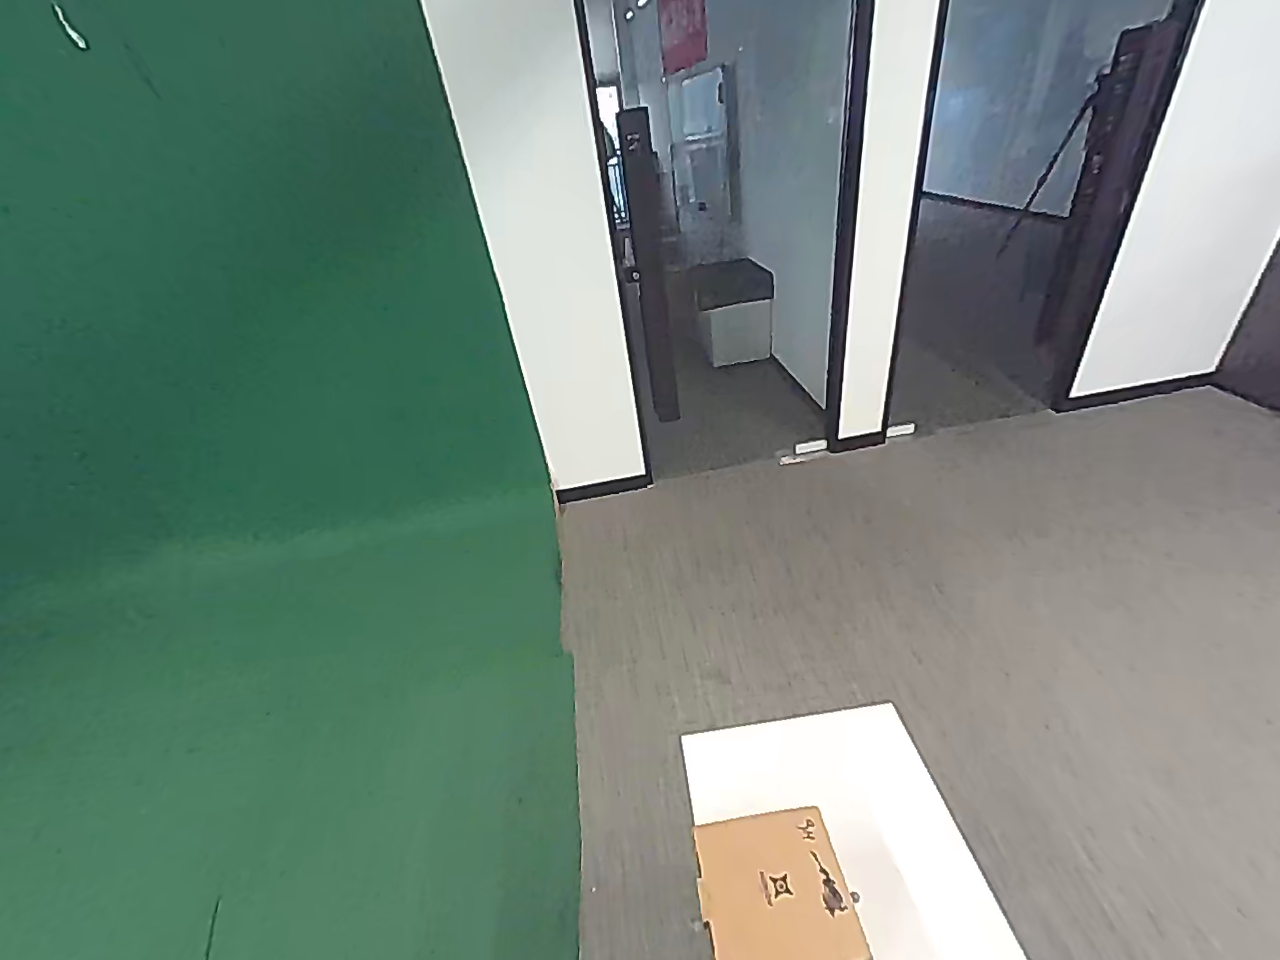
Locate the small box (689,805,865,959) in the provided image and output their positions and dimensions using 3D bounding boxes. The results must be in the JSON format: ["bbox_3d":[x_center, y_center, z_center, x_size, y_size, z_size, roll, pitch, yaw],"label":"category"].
[{"bbox_3d":[0.167,0.560,0.703,0.179,0.176,0.168,-8,33,-1],"label":"small box"}]
